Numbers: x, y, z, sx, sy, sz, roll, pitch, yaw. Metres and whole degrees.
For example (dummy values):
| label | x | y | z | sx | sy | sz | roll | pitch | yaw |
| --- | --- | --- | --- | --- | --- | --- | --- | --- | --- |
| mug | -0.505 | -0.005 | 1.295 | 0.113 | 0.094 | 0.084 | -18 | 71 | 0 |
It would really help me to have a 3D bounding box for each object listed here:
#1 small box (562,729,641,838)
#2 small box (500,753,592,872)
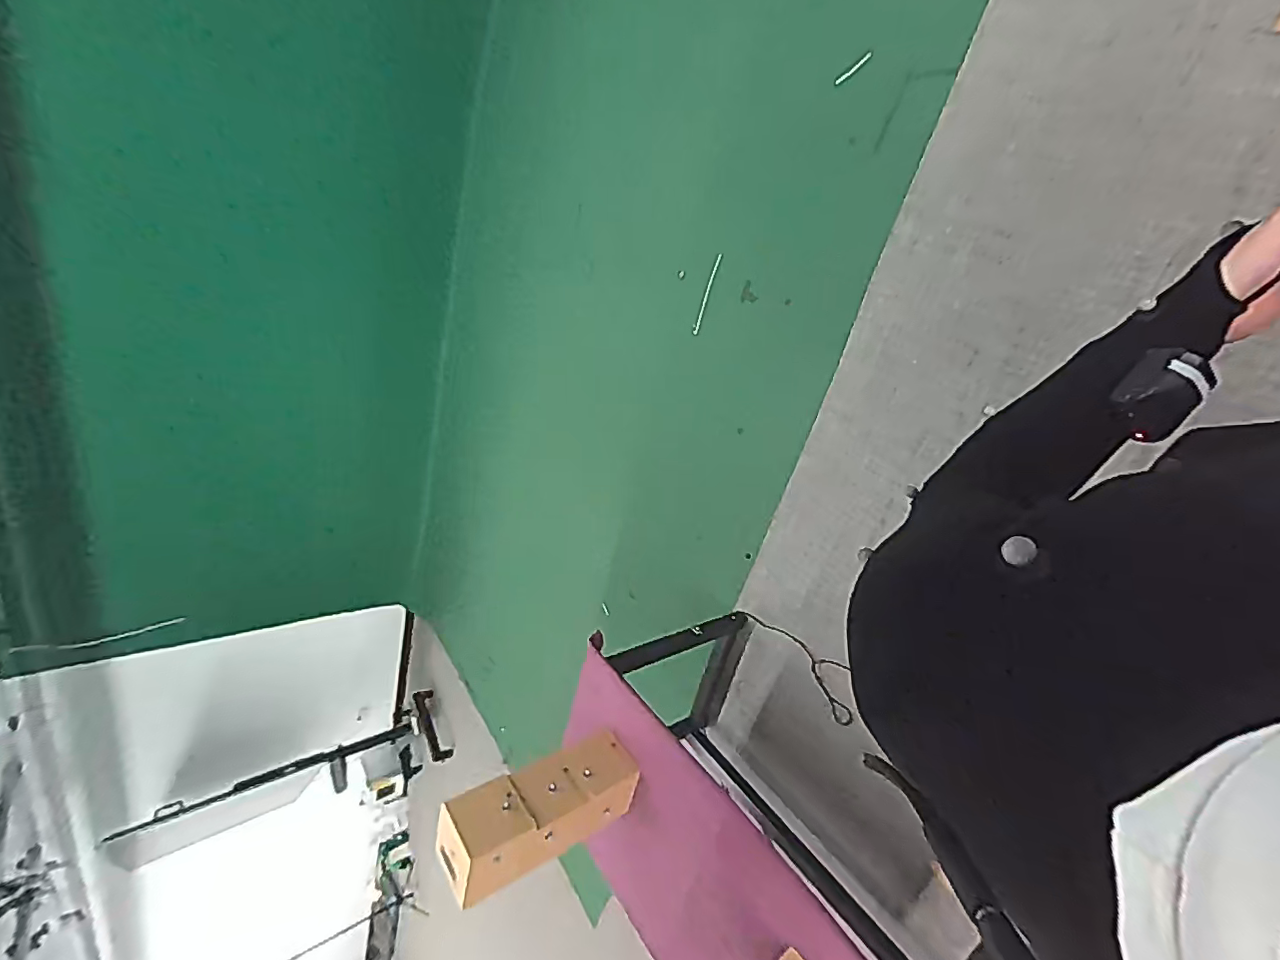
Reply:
| label | x | y | z | sx | sy | sz | roll | pitch | yaw |
| --- | --- | --- | --- | --- | --- | --- | --- | --- | --- |
| small box | -0.120 | 0.848 | 1.525 | 0.168 | 0.176 | 0.179 | 34 | 120 | 41 |
| small box | -0.244 | 0.861 | 1.418 | 0.168 | 0.176 | 0.179 | 37 | 121 | 41 |
